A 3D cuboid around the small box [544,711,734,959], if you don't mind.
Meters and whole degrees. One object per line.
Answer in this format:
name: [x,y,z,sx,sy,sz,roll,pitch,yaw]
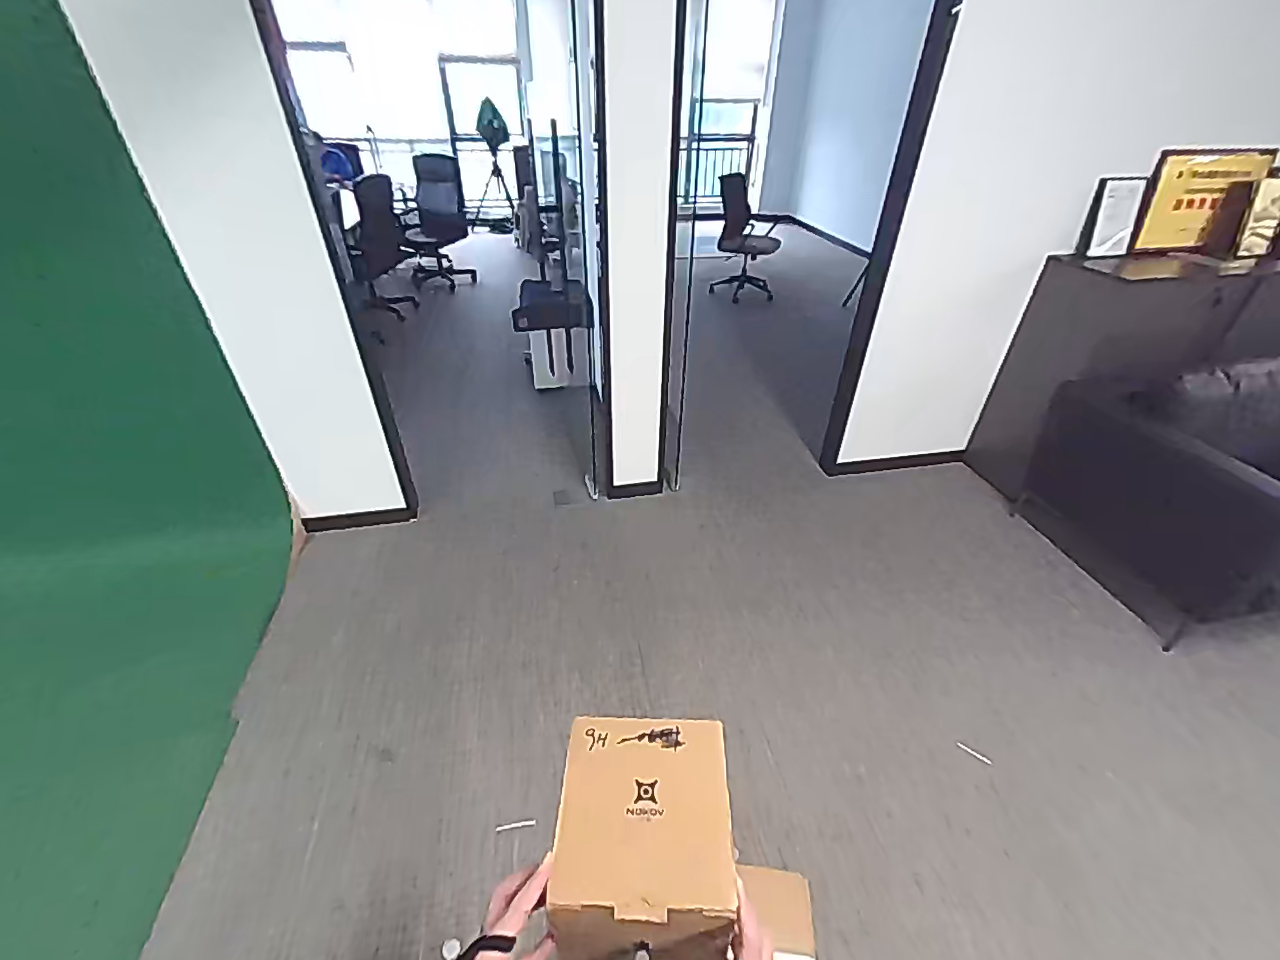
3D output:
small box: [0.005,0.371,0.567,0.168,0.176,0.179,1,36,3]
